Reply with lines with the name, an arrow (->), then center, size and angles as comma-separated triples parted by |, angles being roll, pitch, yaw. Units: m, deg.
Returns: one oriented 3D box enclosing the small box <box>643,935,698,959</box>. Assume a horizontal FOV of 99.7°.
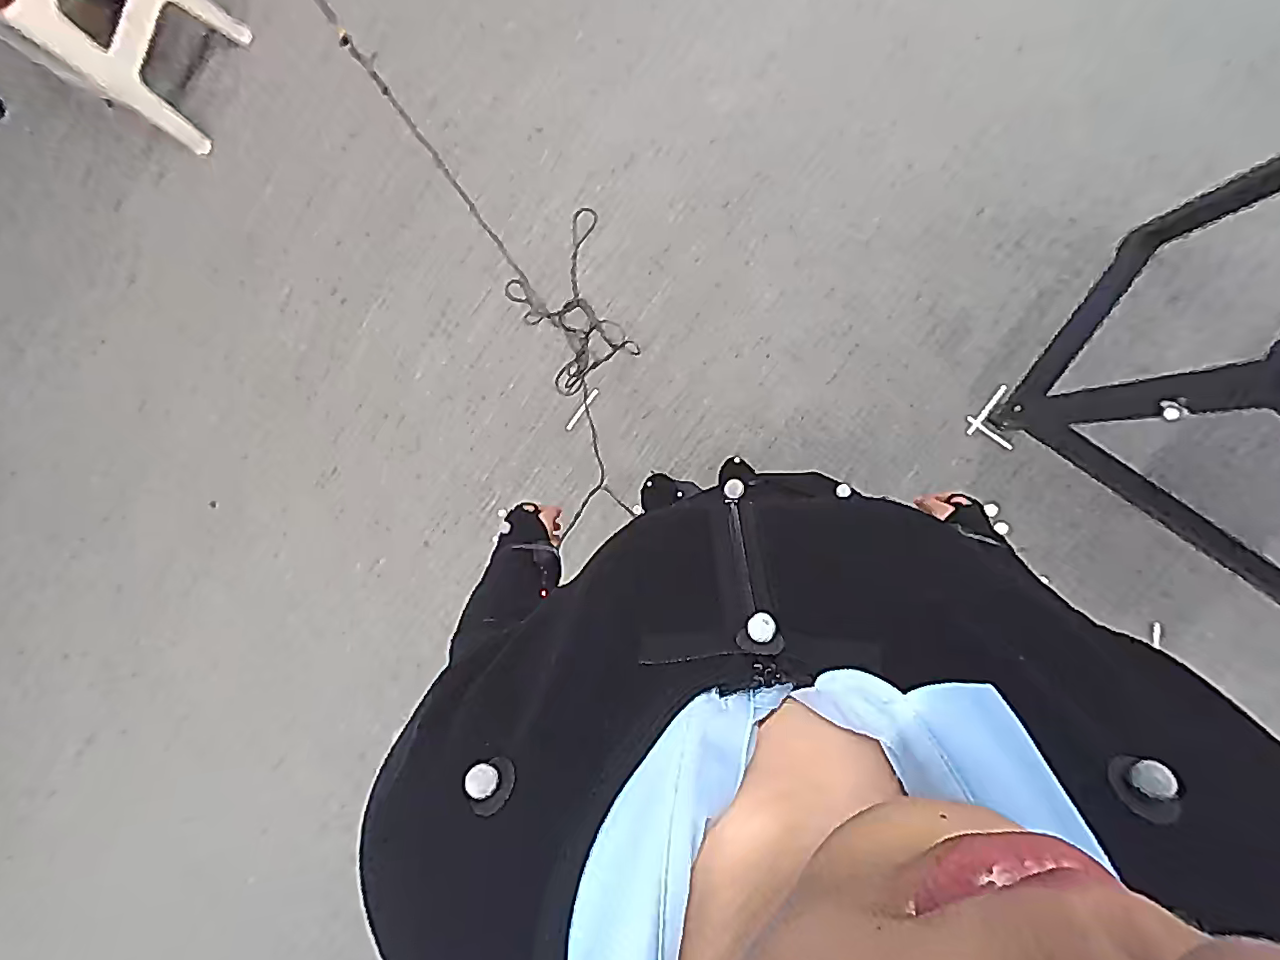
small box -> 0.079, 1.399, 1.450 | 0.168, 0.176, 0.179 | 41, 95, 2
